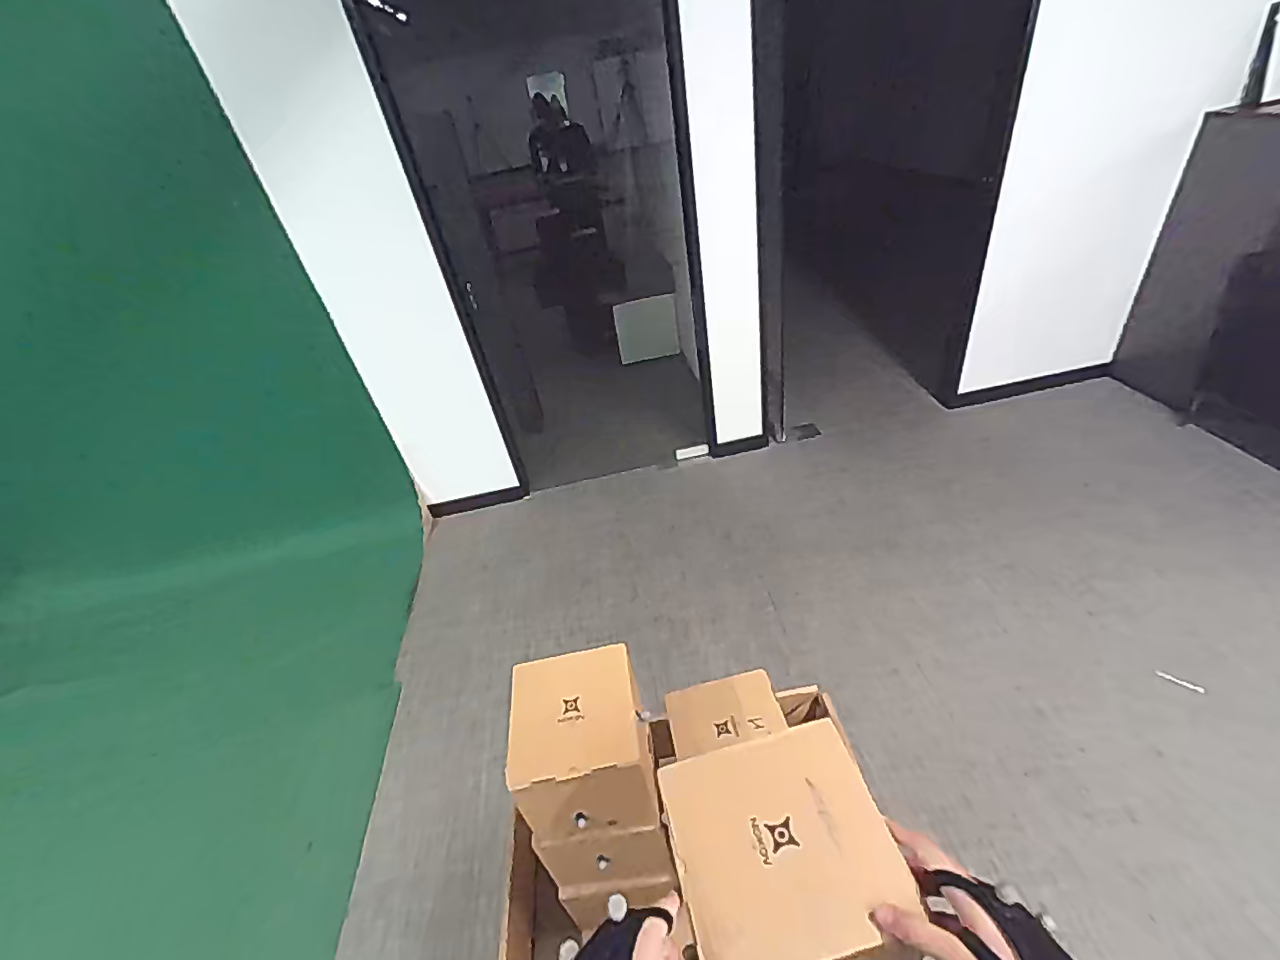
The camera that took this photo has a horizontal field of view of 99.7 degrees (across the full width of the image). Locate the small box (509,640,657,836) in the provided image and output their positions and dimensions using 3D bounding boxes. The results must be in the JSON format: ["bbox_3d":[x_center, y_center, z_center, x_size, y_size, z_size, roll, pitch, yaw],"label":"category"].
[{"bbox_3d":[-0.076,0.359,0.759,0.168,0.176,0.179,-11,37,-1],"label":"small box"}]
